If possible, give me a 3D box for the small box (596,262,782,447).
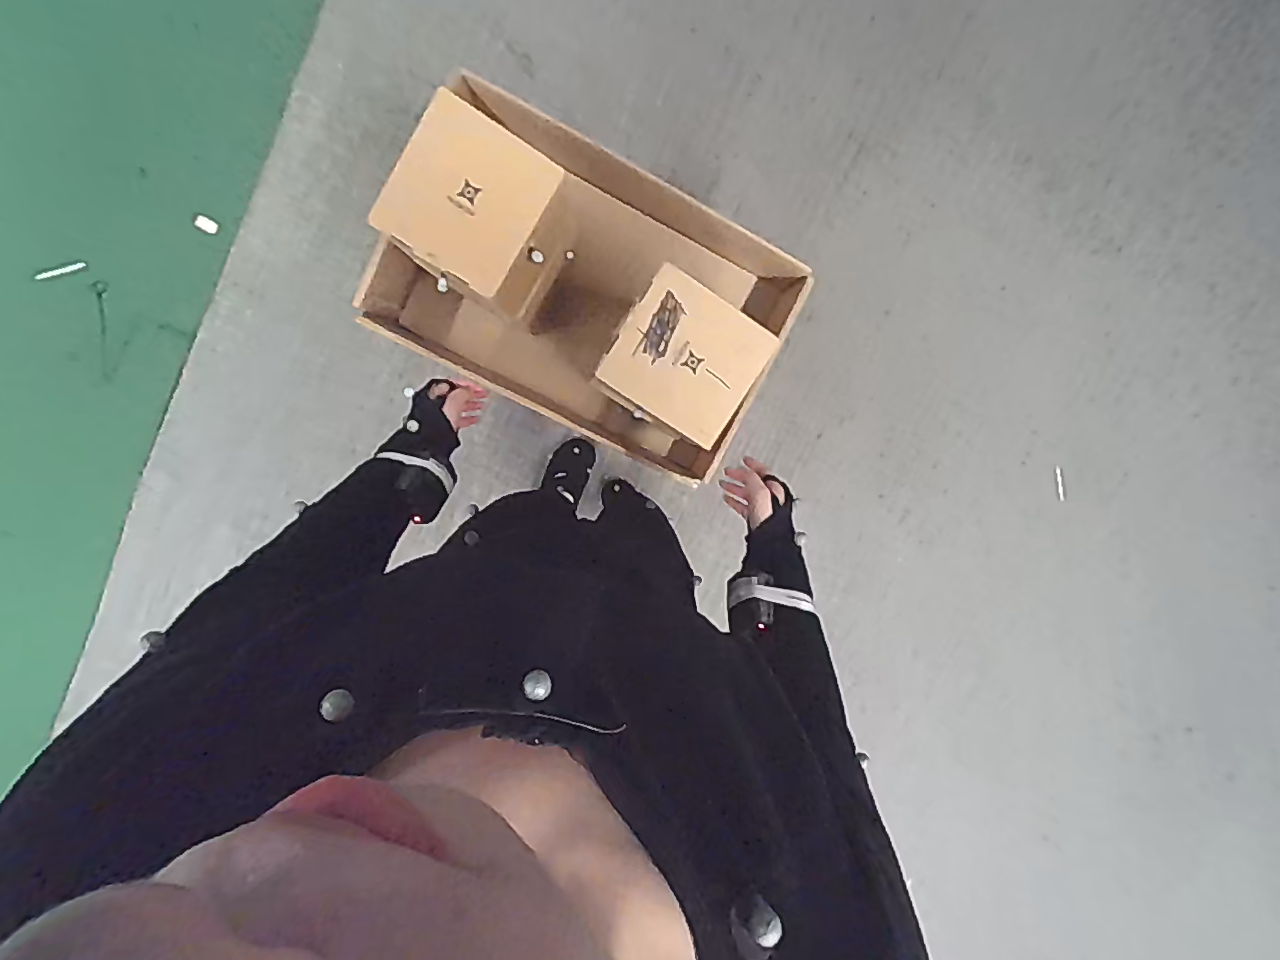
[{"bbox_3d":[0.056,-0.160,0.742,0.179,0.176,0.168,33,94,-7],"label":"small box"}]

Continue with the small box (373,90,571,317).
[{"bbox_3d":[-0.202,-0.339,0.705,0.168,0.176,0.179,32,95,-7],"label":"small box"}]
